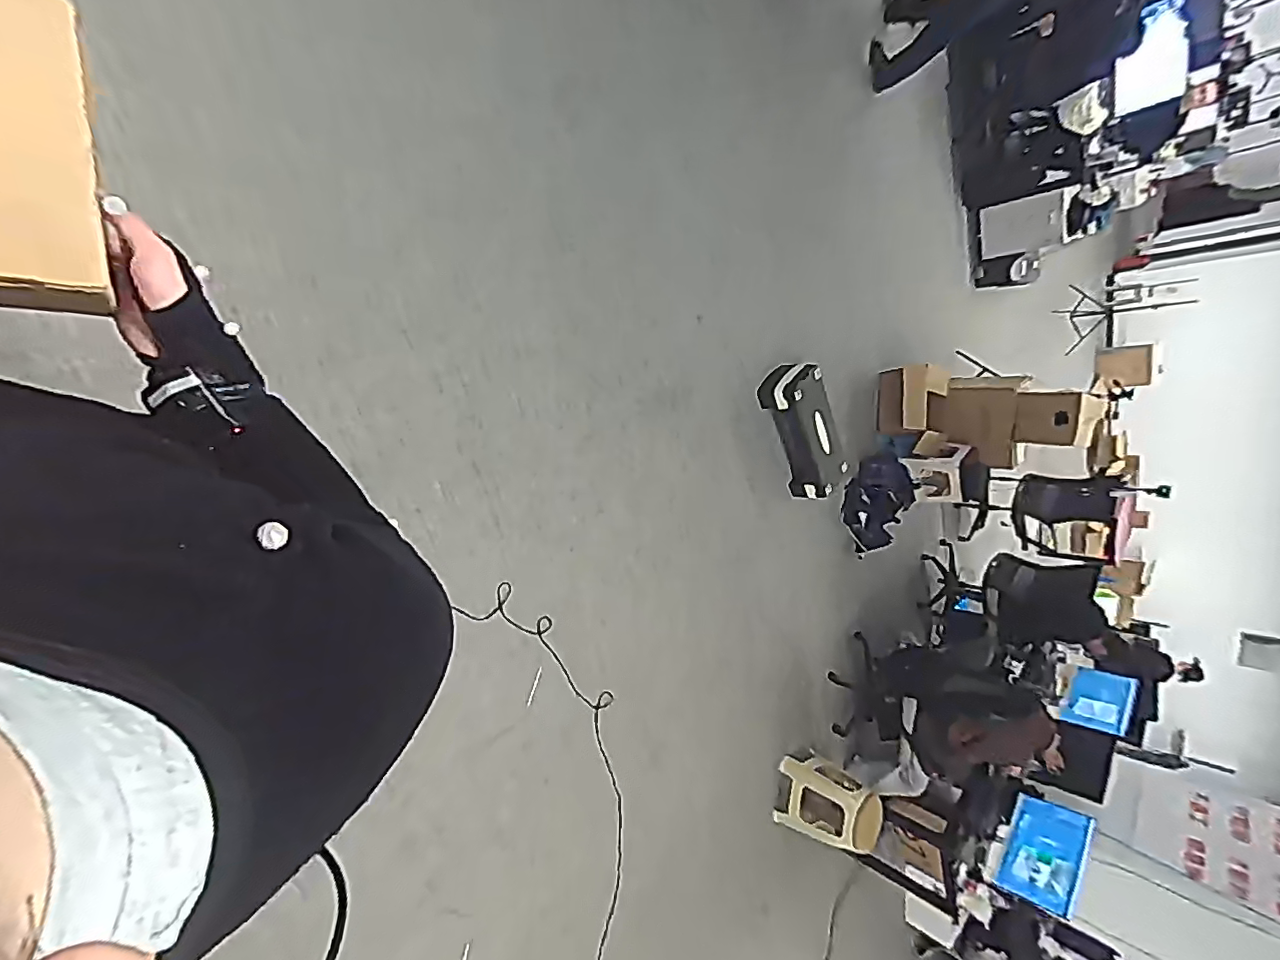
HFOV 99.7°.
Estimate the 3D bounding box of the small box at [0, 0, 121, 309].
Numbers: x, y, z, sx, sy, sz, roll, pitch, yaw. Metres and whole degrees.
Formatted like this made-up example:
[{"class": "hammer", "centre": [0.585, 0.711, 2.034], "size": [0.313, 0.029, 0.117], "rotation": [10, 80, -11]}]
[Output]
[{"class": "small box", "centre": [-0.451, -0.211, 0.343], "size": [0.168, 0.176, 0.179], "rotation": [-8, 103, -44]}]
